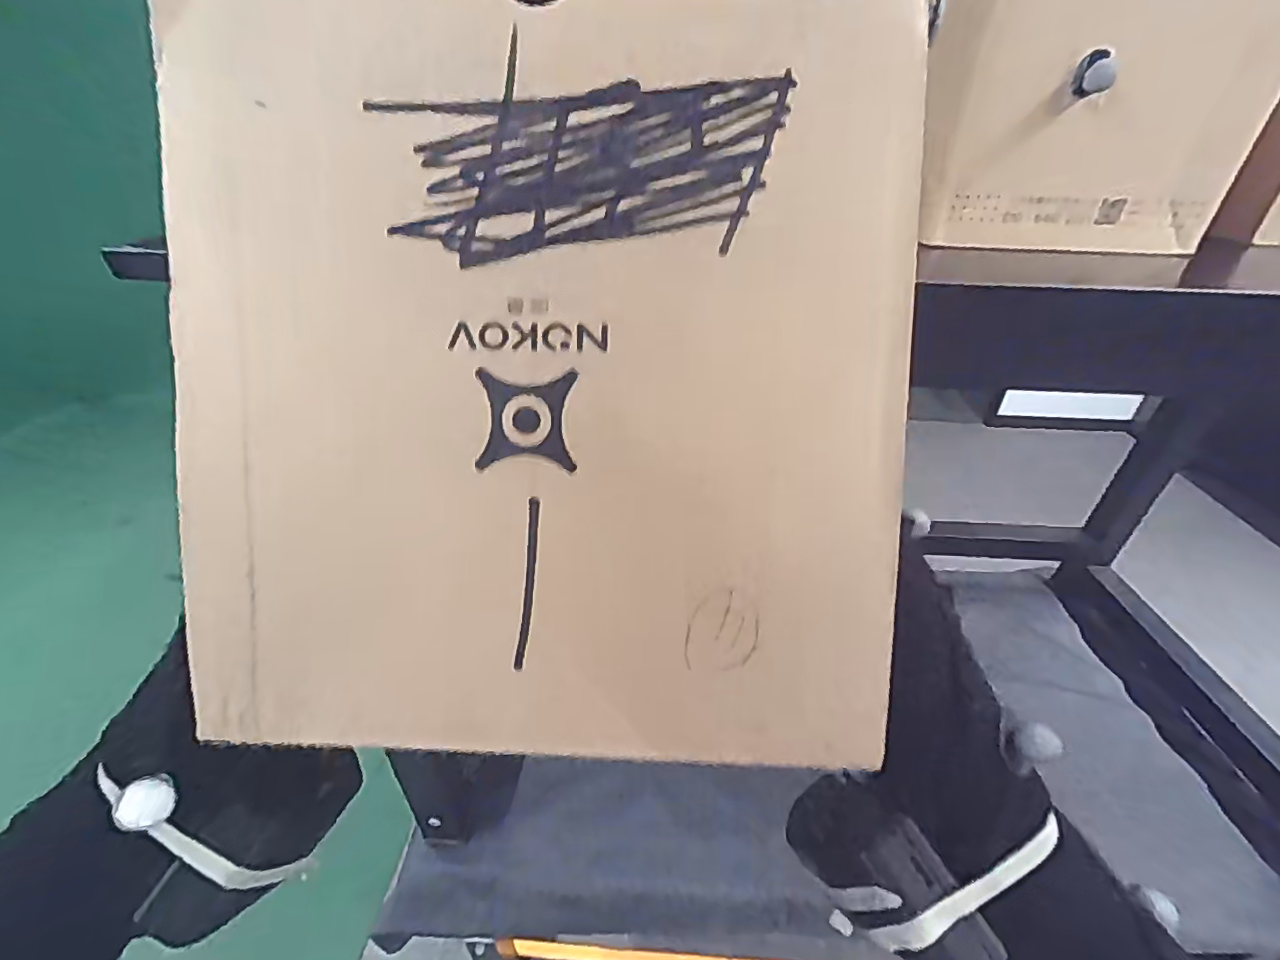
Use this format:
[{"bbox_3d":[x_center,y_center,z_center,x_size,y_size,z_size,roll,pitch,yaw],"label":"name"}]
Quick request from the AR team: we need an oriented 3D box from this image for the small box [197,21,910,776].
[{"bbox_3d":[-0.021,-0.022,0.209,0.168,0.179,0.176,2,4,2],"label":"small box"}]
